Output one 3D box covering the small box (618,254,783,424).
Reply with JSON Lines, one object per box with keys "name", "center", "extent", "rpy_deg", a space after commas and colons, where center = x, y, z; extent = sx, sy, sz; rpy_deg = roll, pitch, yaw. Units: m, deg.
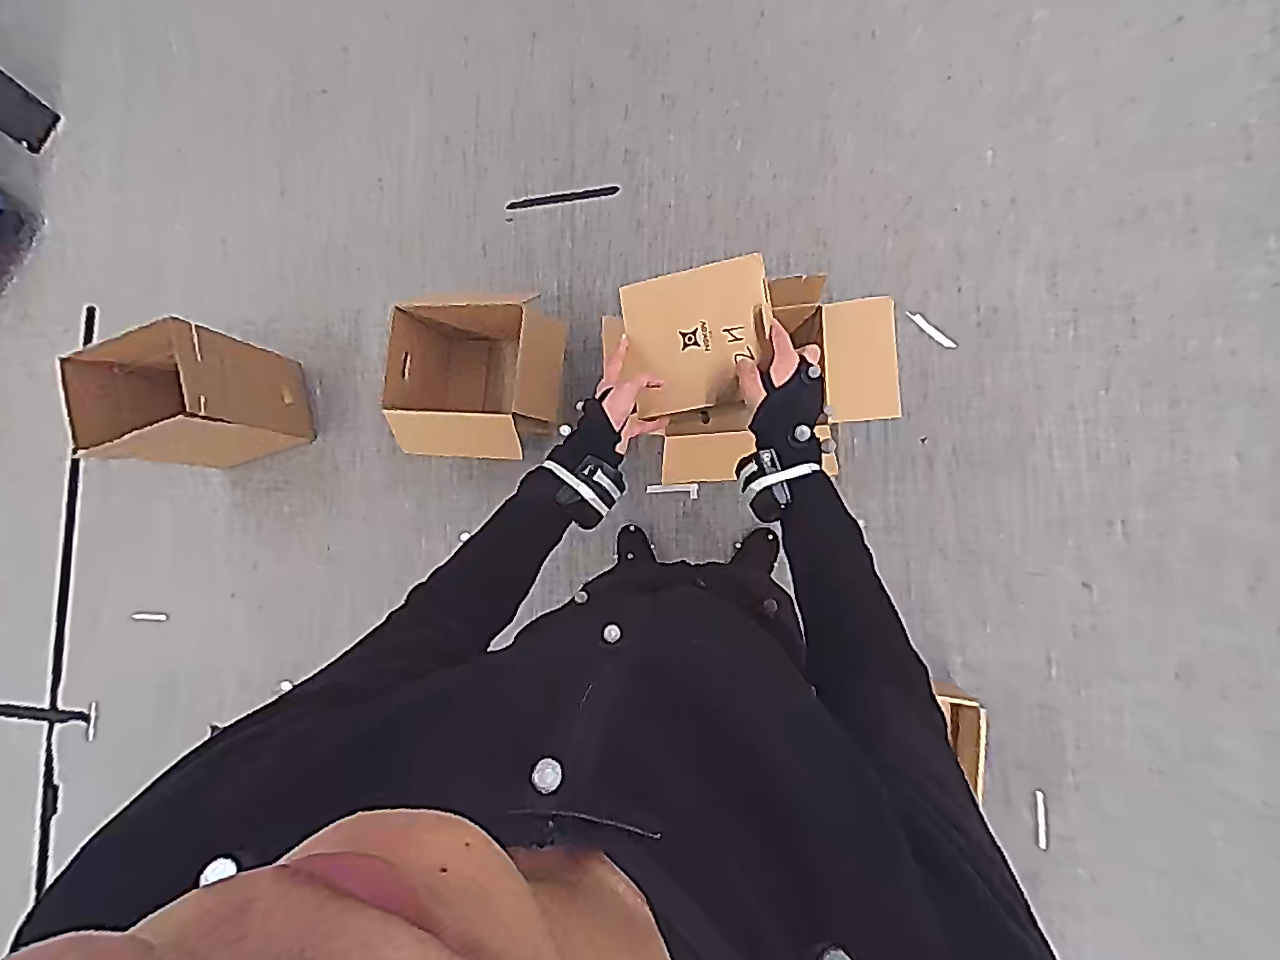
{"name": "small box", "center": [0.088, -0.170, 0.714], "extent": [0.179, 0.176, 0.168], "rpy_deg": [-8, 91, 16]}
